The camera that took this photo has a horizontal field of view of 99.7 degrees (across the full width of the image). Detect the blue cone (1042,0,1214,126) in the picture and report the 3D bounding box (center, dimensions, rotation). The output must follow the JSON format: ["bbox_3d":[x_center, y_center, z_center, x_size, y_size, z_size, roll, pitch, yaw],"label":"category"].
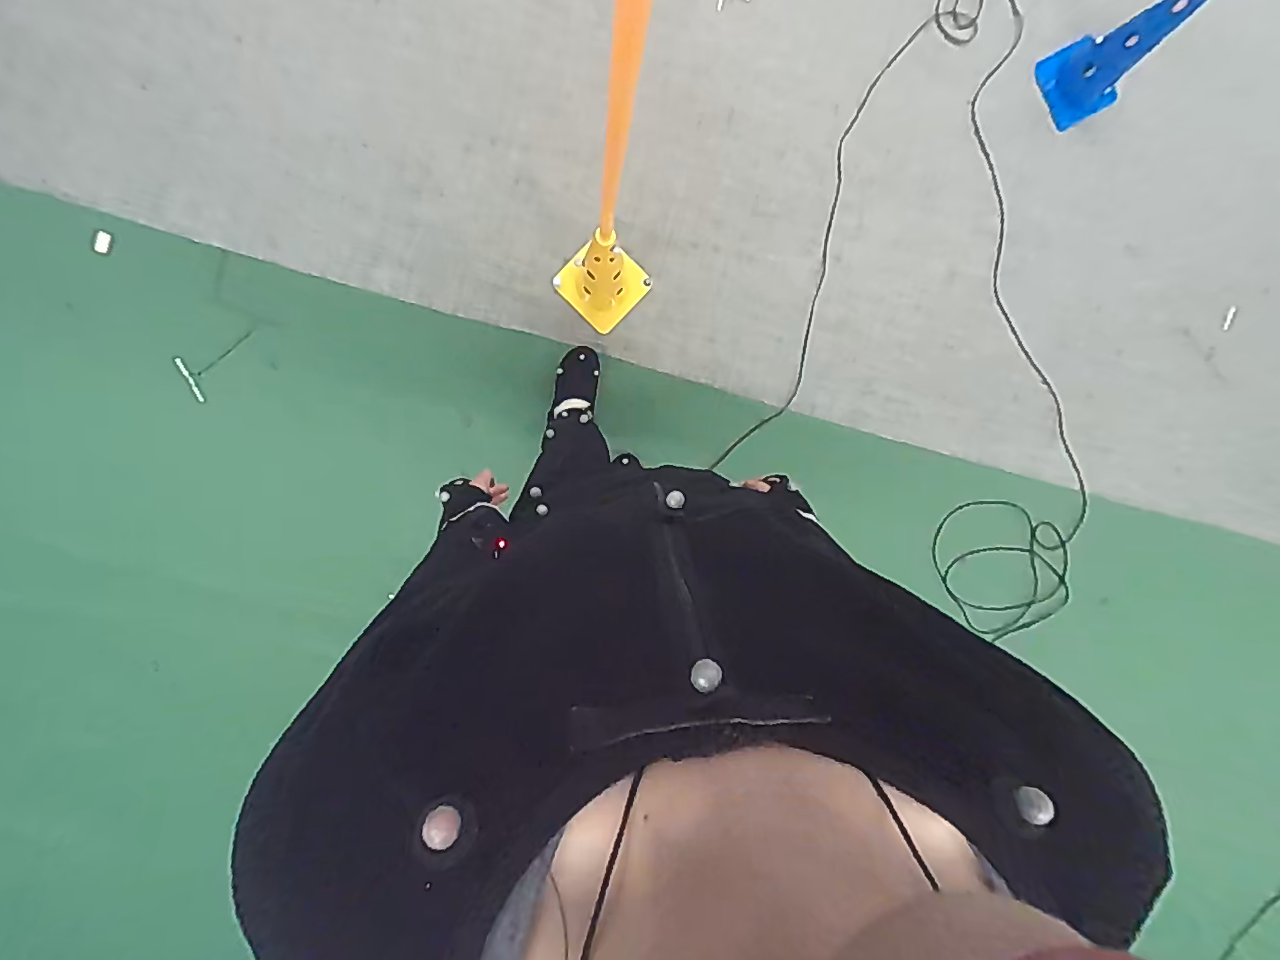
[{"bbox_3d":[1.232,-1.093,1.330,0.193,0.380,0.192,-31,96,-4],"label":"blue cone"}]
